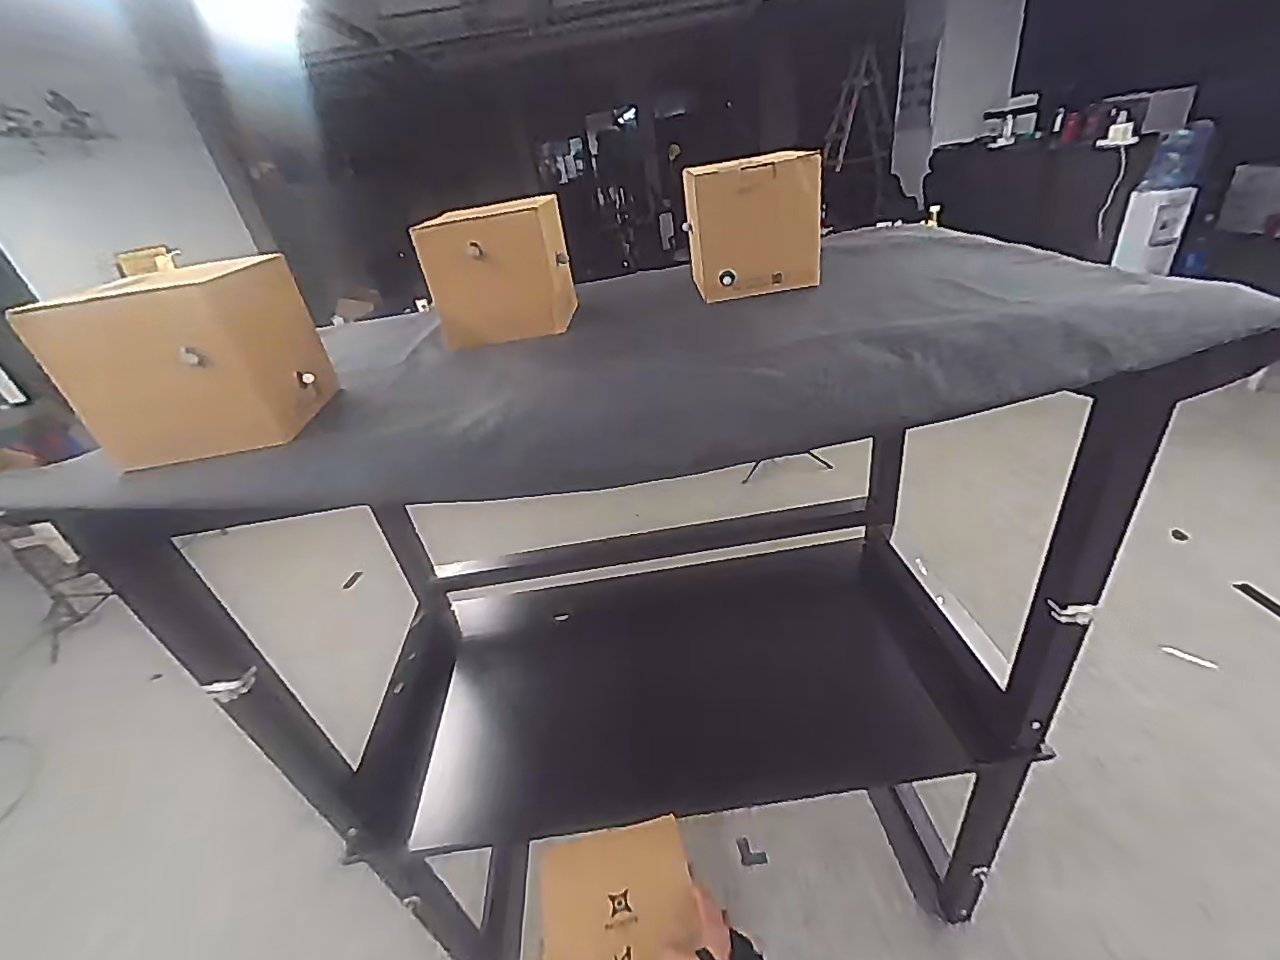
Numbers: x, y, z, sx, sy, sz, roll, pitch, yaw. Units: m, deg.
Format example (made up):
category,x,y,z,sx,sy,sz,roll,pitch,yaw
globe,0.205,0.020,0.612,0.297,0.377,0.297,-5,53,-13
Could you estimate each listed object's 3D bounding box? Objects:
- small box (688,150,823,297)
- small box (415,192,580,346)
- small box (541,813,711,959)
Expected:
category,x,y,z,sx,sy,sz,roll,pitch,yaw
small box,0.168,-0.379,0.806,0.168,0.176,0.179,-7,31,4
small box,-0.193,-0.312,0.800,0.179,0.176,0.168,-7,32,6
small box,-0.015,0.526,0.607,0.168,0.176,0.179,-11,26,-8
